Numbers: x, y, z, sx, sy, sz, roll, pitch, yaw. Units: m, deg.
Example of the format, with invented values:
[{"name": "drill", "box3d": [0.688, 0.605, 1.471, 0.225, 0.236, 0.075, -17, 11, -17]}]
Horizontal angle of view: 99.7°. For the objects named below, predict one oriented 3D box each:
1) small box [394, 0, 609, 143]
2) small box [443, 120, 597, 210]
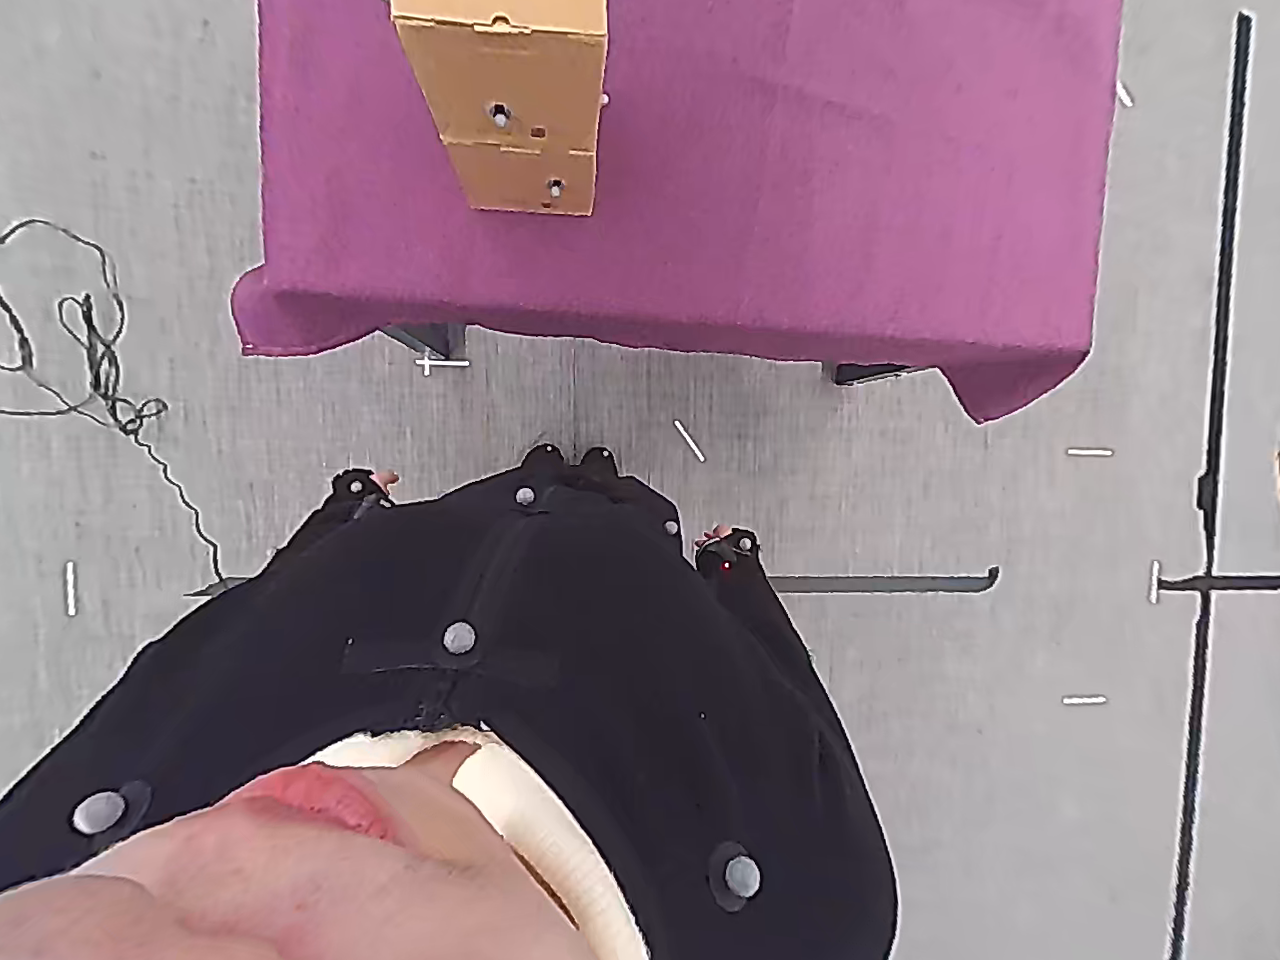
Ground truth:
[{"name": "small box", "box3d": [-0.118, -0.444, 0.493, 0.168, 0.176, 0.179, -2, 96, -8]}, {"name": "small box", "box3d": [-0.135, -0.450, 0.654, 0.168, 0.176, 0.179, 1, 94, -8]}]
